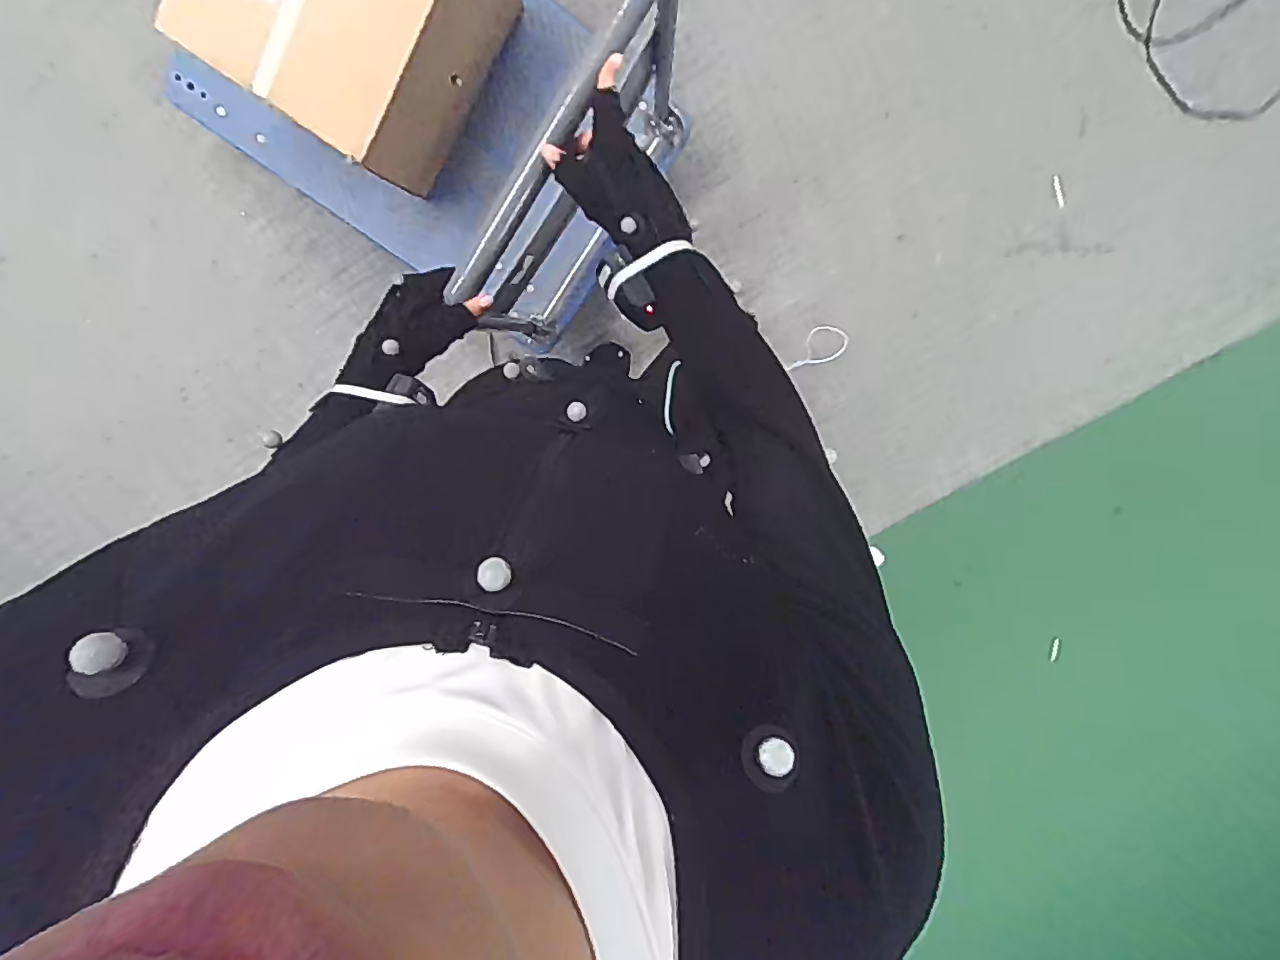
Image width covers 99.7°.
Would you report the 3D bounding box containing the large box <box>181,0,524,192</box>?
[{"bbox_3d":[-0.434,-0.773,0.894,0.320,0.320,0.408,31,105,-12],"label":"large box"}]
